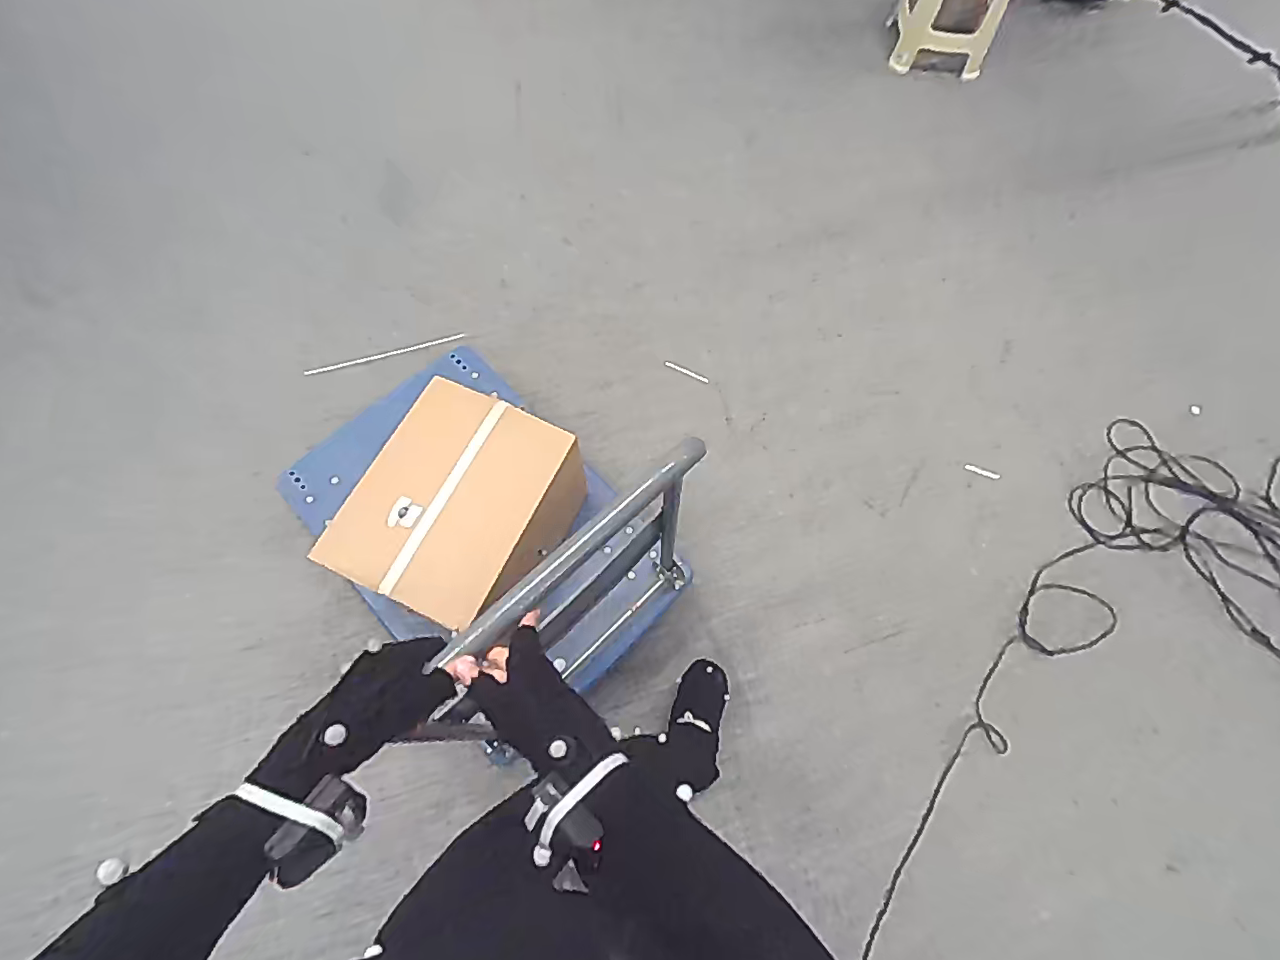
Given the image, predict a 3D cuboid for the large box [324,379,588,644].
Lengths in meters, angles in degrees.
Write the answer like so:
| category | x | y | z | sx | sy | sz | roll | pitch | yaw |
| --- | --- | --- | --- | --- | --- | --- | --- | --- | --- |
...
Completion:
| category | x | y | z | sx | sy | sz | roll | pitch | yaw |
| --- | --- | --- | --- | --- | --- | --- | --- | --- | --- |
| large box | -0.332 | 0.079 | 1.114 | 0.320 | 0.320 | 0.408 | 24 | 71 | 8 |
